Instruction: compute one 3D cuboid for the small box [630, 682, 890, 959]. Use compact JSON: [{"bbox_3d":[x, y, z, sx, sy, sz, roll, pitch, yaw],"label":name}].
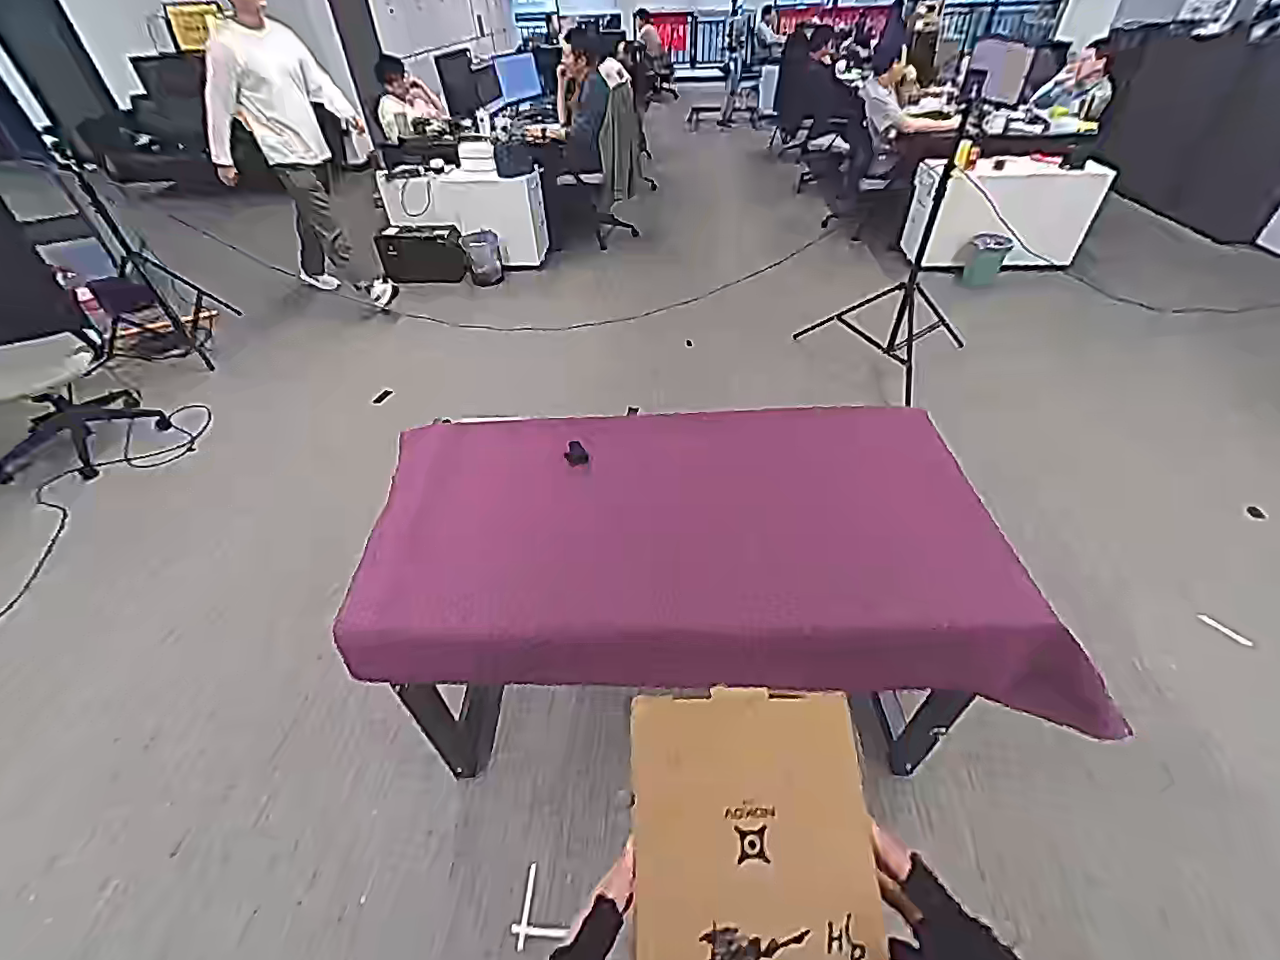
[{"bbox_3d":[0.076,0.274,0.454,0.168,0.176,0.179,0,63,-2],"label":"small box"}]
